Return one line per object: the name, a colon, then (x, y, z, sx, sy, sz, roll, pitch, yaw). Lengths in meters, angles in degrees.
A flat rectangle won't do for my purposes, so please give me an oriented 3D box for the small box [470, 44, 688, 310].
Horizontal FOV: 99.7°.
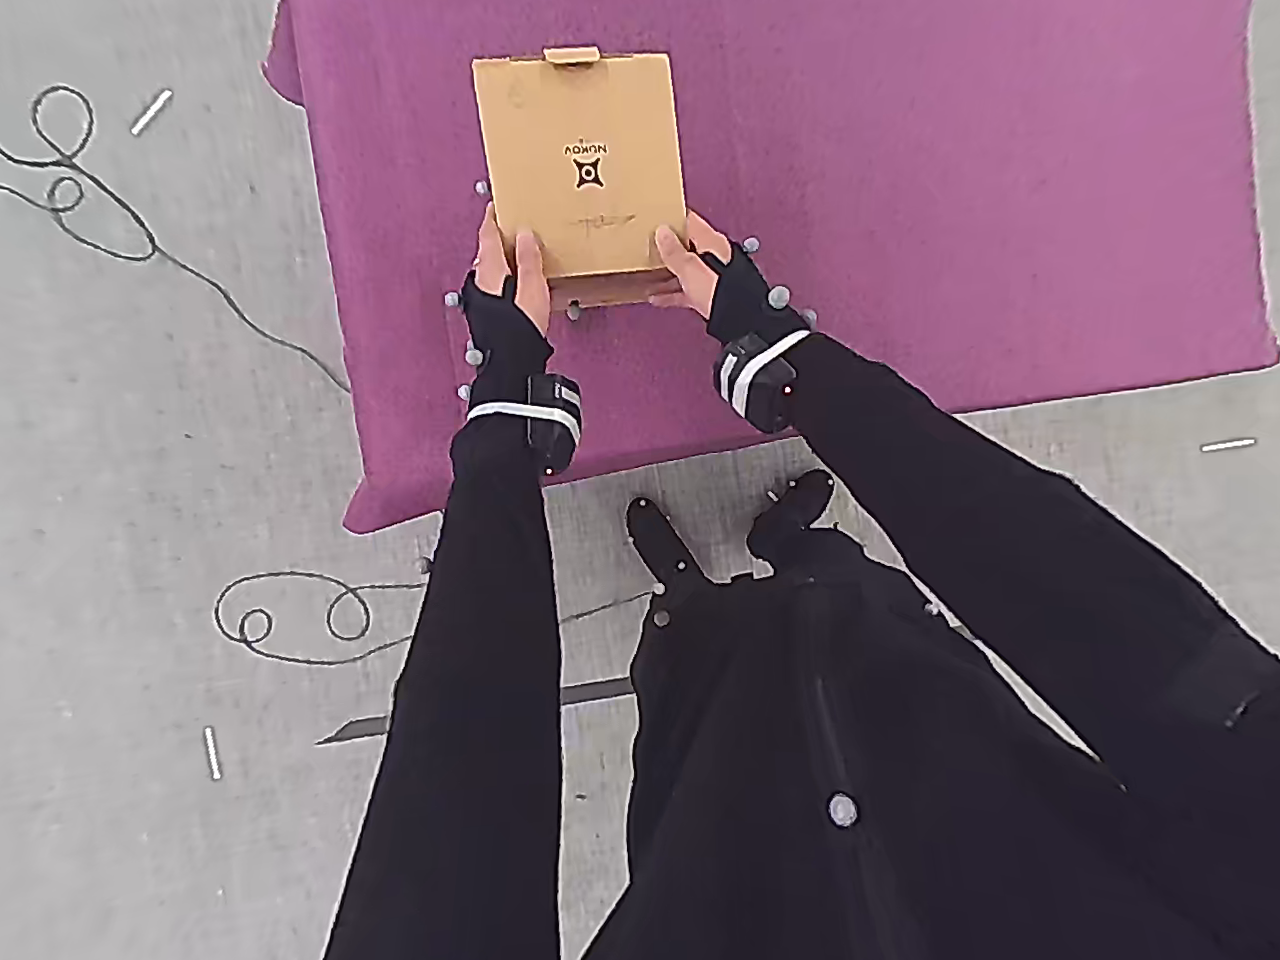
small box: (-0.061, -0.274, 0.524, 0.168, 0.176, 0.179, -8, 99, -9)
